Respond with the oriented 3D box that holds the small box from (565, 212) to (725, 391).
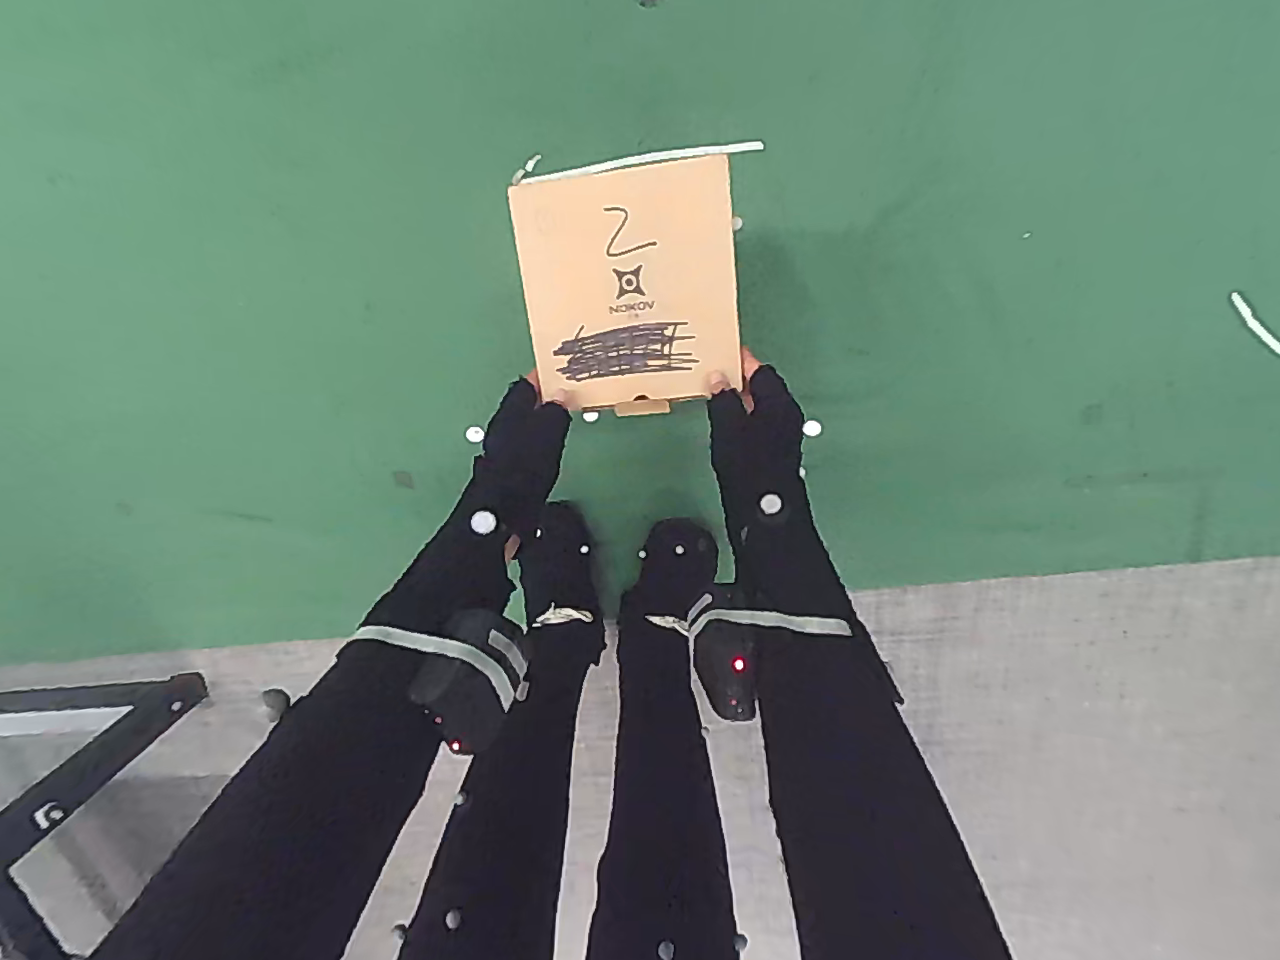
[{"bbox_3d":[0.012,-0.214,0.663,0.168,0.176,0.179,-4,110,6],"label":"small box"}]
